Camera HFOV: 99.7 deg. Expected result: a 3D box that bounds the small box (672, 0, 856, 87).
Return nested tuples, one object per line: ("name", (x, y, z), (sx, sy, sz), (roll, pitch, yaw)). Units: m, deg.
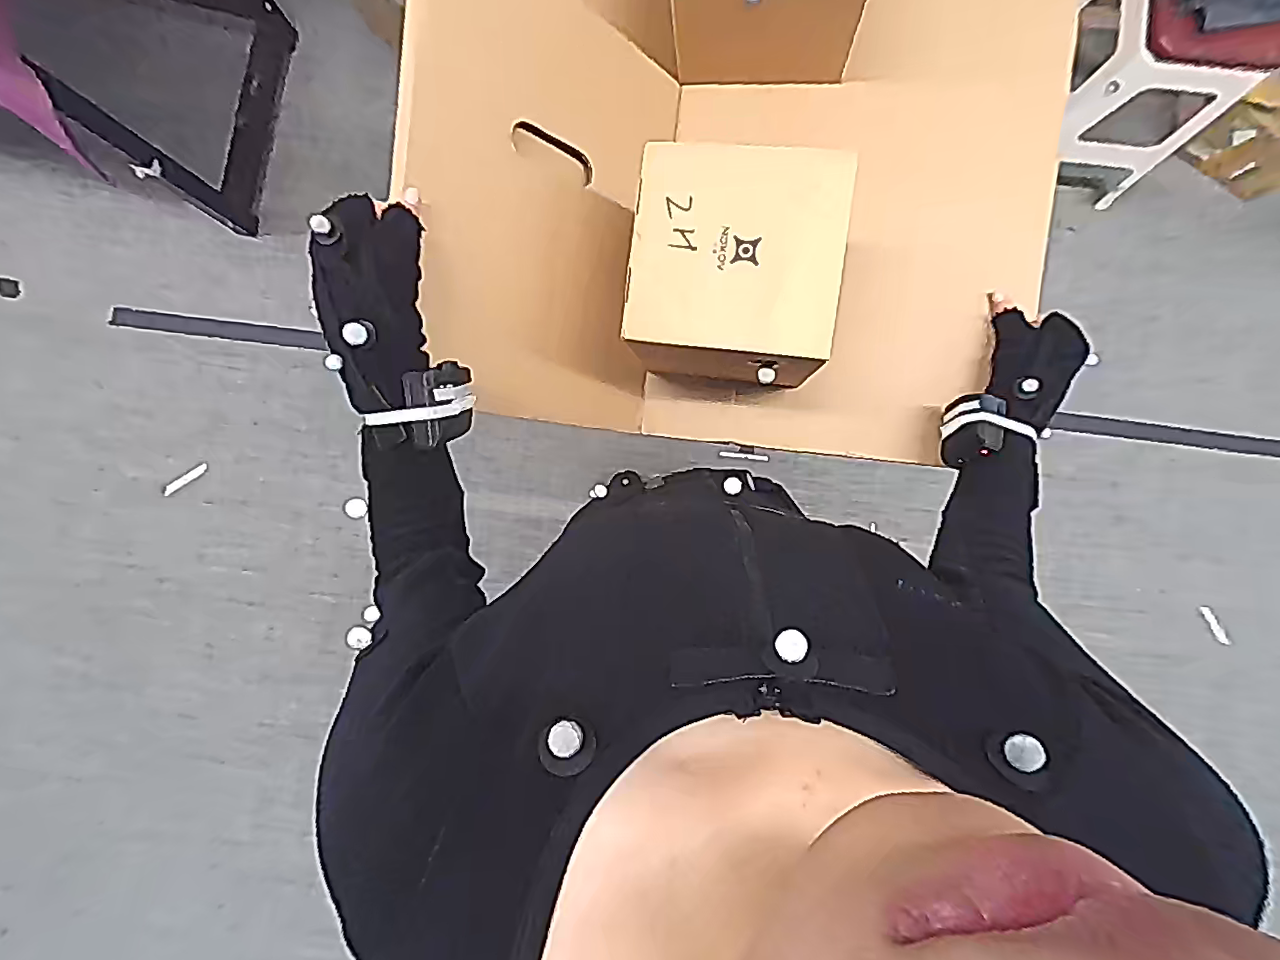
("small box", (0.122, -0.513, 0.515), (0.179, 0.176, 0.168), (6, 93, 8))
